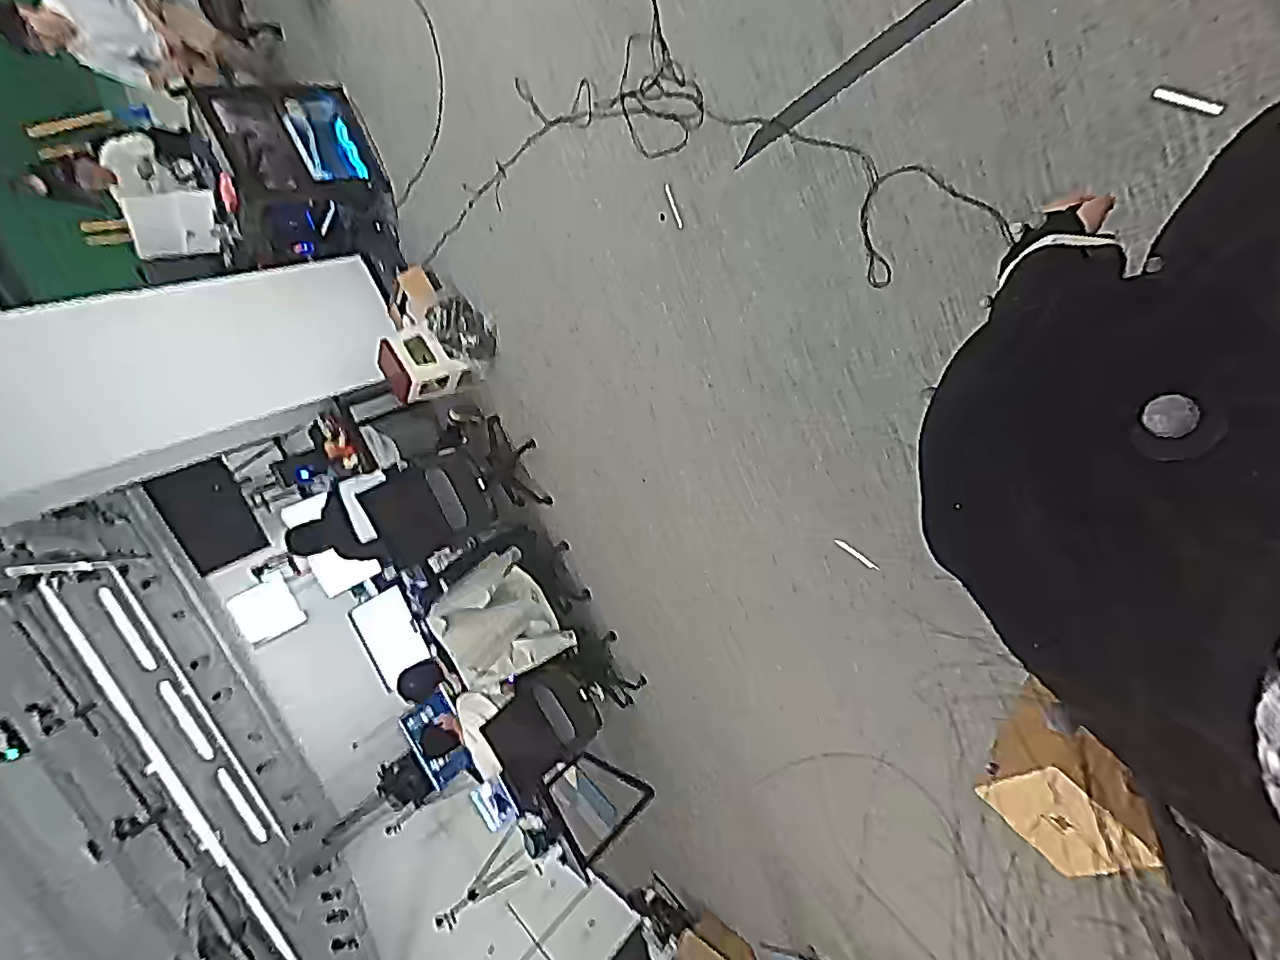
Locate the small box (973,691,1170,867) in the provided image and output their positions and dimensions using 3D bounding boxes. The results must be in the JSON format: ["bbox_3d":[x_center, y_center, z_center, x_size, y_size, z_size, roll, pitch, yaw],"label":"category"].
[{"bbox_3d":[0.687,0.471,0.863,0.168,0.176,0.179,44,144,20],"label":"small box"}]
